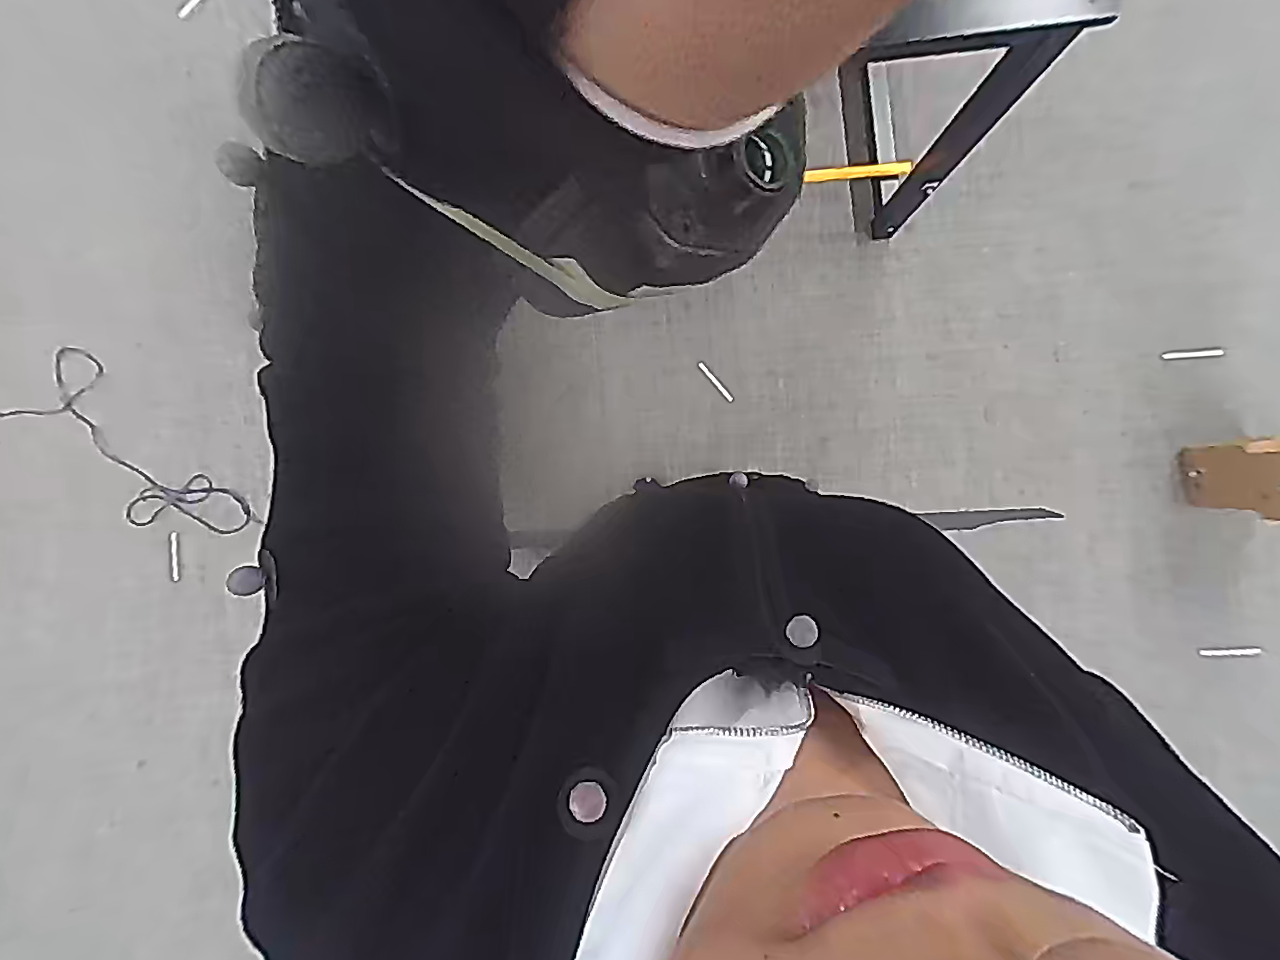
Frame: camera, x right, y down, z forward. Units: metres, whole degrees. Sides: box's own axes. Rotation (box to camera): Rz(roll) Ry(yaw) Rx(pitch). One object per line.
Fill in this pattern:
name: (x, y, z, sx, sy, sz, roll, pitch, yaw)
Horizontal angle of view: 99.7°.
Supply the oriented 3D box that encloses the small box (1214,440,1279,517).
small box: (1.554, -0.008, 1.291, 0.179, 0.176, 0.168, -11, 89, 4)
